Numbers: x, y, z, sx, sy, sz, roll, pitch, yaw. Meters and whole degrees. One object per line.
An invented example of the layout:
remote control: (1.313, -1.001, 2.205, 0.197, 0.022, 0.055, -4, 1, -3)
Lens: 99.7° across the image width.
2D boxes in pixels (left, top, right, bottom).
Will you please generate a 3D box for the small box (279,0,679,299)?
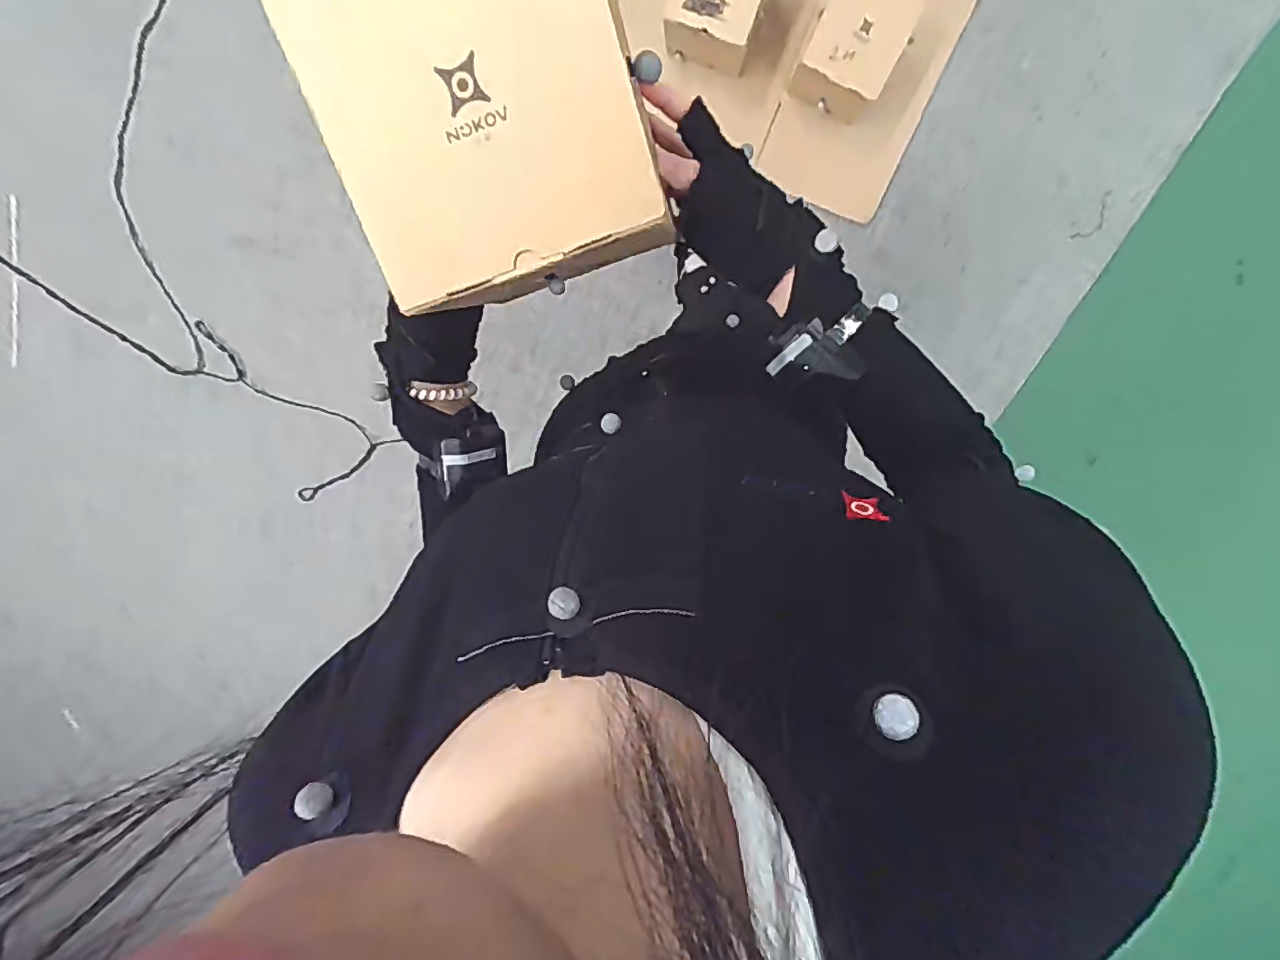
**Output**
small box: (-0.077, -0.231, 0.350, 0.168, 0.176, 0.179, -16, 110, 11)

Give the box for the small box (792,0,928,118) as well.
small box: (0.422, -0.866, 1.074, 0.168, 0.176, 0.179, 25, 111, -4)

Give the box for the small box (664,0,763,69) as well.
small box: (0.156, -0.952, 1.058, 0.168, 0.176, 0.179, 19, 110, -3)
